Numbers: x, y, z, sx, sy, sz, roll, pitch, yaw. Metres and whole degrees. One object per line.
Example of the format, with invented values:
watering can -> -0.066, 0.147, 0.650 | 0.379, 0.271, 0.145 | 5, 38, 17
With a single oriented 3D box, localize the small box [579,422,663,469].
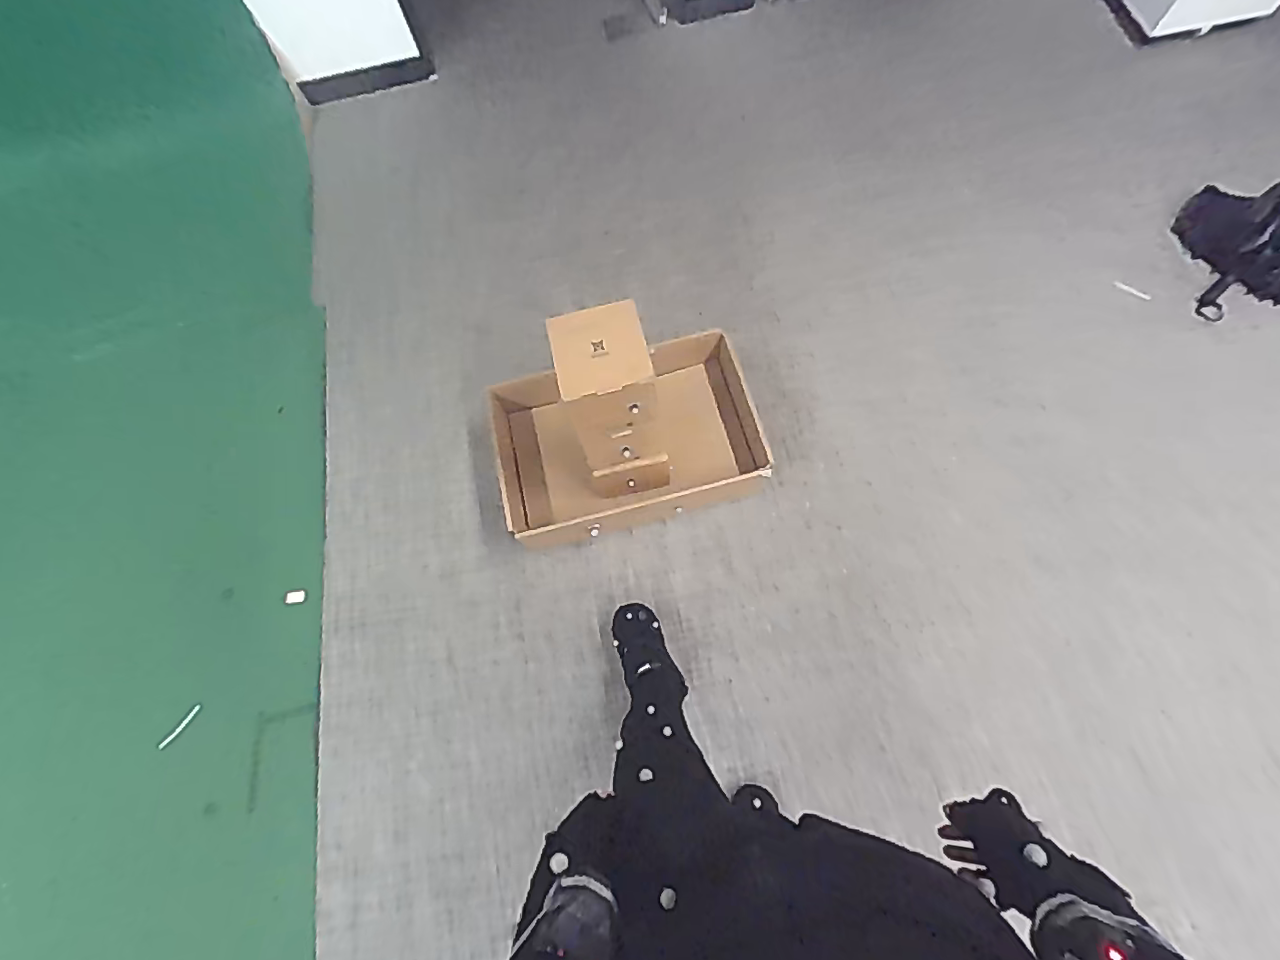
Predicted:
small box -> -0.050, -0.136, 1.171 | 0.168, 0.176, 0.179 | -14, 70, 0

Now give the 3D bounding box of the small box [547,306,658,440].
small box -> -0.064, -0.190, 1.018 | 0.168, 0.176, 0.179 | -14, 68, -1

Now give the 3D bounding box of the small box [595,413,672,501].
small box -> -0.025, -0.064, 1.316 | 0.179, 0.176, 0.168 | -15, 69, -2
